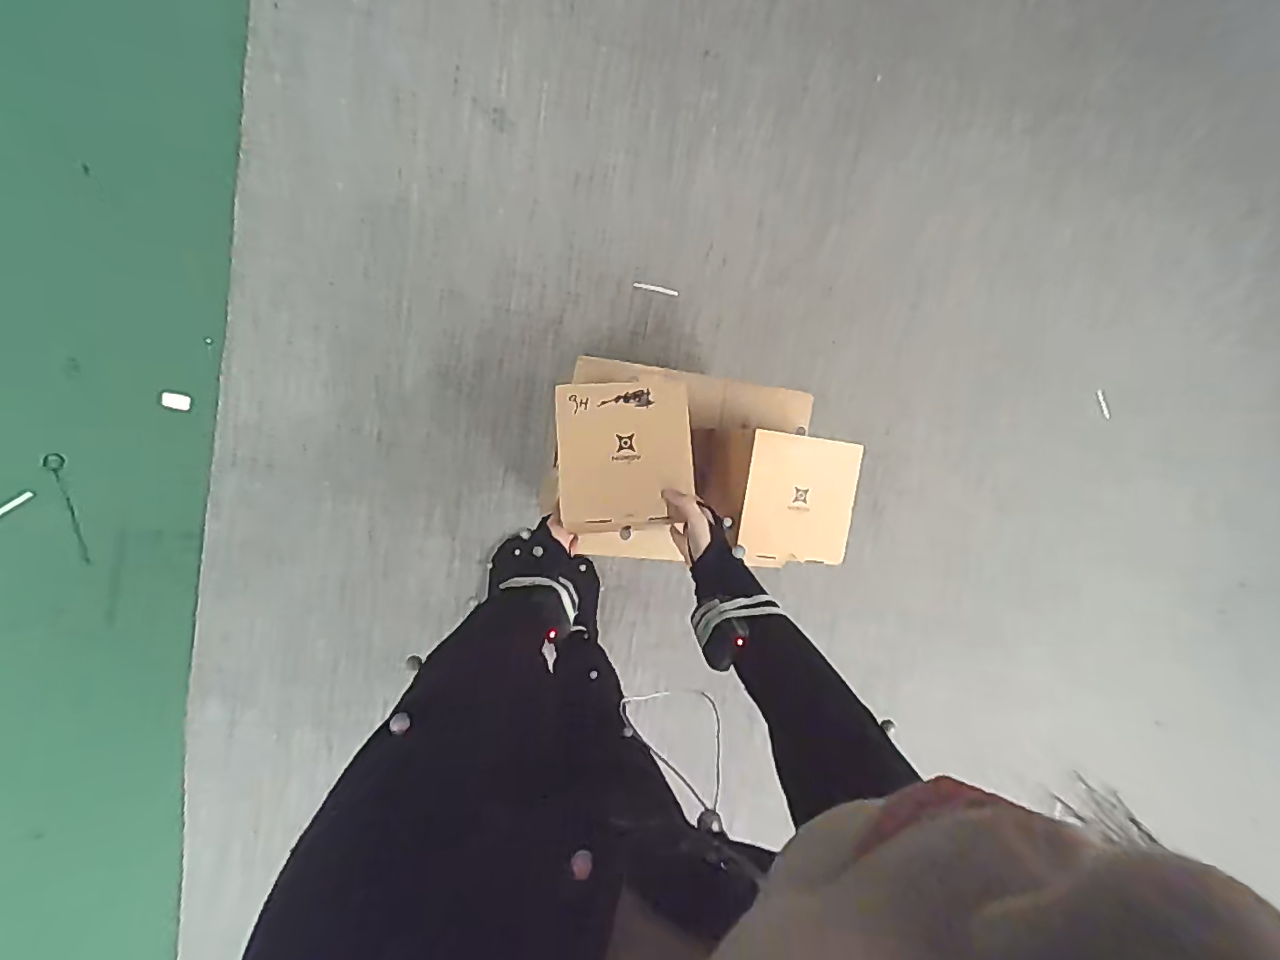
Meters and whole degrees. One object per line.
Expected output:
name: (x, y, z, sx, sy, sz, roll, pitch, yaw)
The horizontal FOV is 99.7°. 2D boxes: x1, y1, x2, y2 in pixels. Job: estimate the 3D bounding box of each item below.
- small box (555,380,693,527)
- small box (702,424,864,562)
small box: (-0.024, -0.026, 0.737, 0.168, 0.176, 0.179, -3, 83, -5)
small box: (0.204, 0.012, 0.817, 0.168, 0.176, 0.179, 7, 96, -12)
